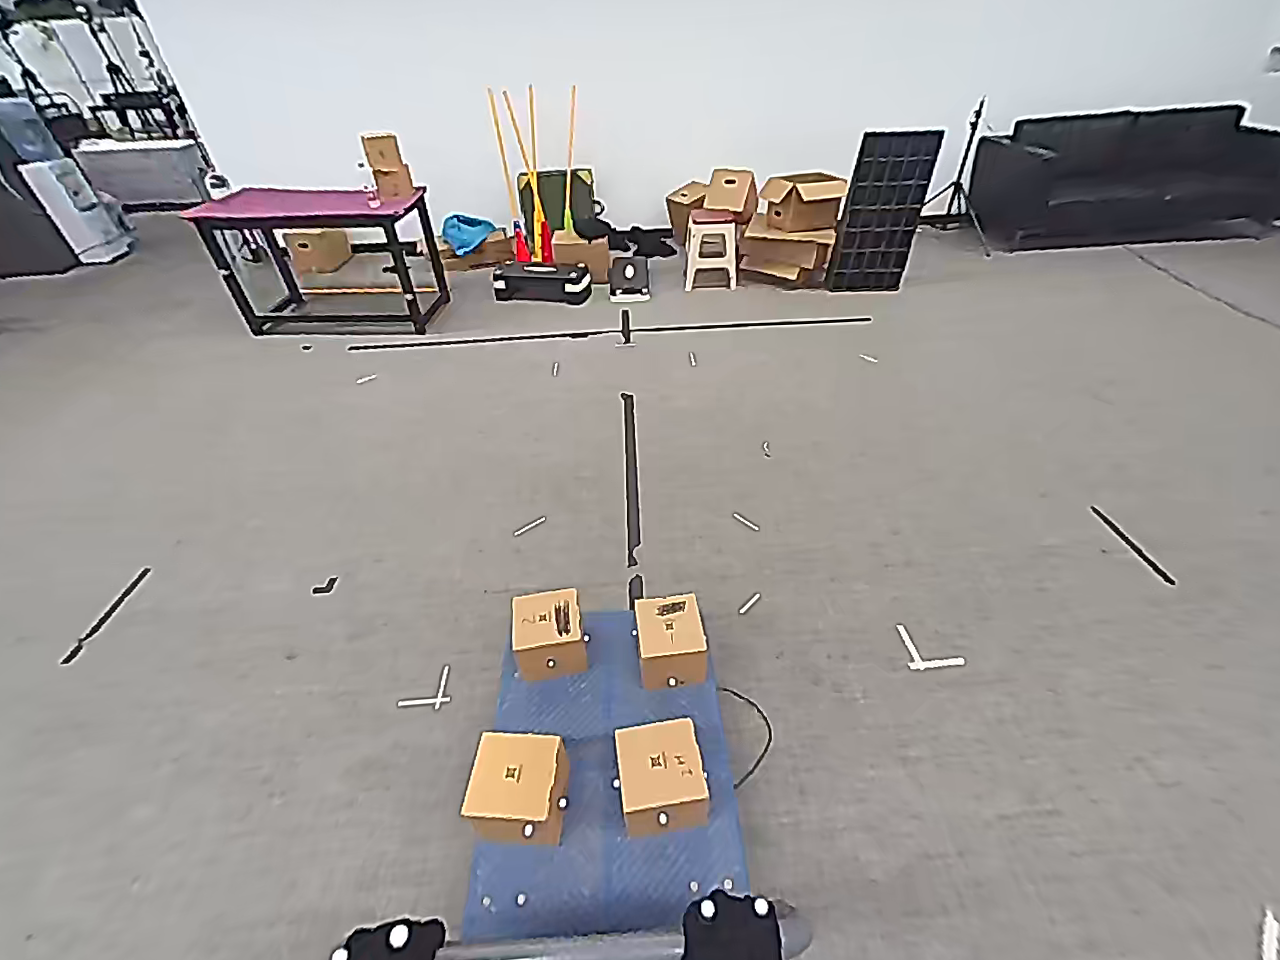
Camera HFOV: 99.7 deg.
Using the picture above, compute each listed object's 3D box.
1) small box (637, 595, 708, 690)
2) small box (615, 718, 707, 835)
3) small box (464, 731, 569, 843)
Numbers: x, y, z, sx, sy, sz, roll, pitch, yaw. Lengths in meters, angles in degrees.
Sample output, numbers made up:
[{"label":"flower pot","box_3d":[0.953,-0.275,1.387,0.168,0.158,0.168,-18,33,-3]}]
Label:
[{"label":"small box","box_3d":[0.081,0.434,1.443,0.168,0.176,0.179,-5,42,-3]},{"label":"small box","box_3d":[0.045,0.654,1.188,0.179,0.176,0.168,-7,41,-5]},{"label":"small box","box_3d":[-0.260,0.672,1.183,0.179,0.176,0.168,2,40,3]}]
